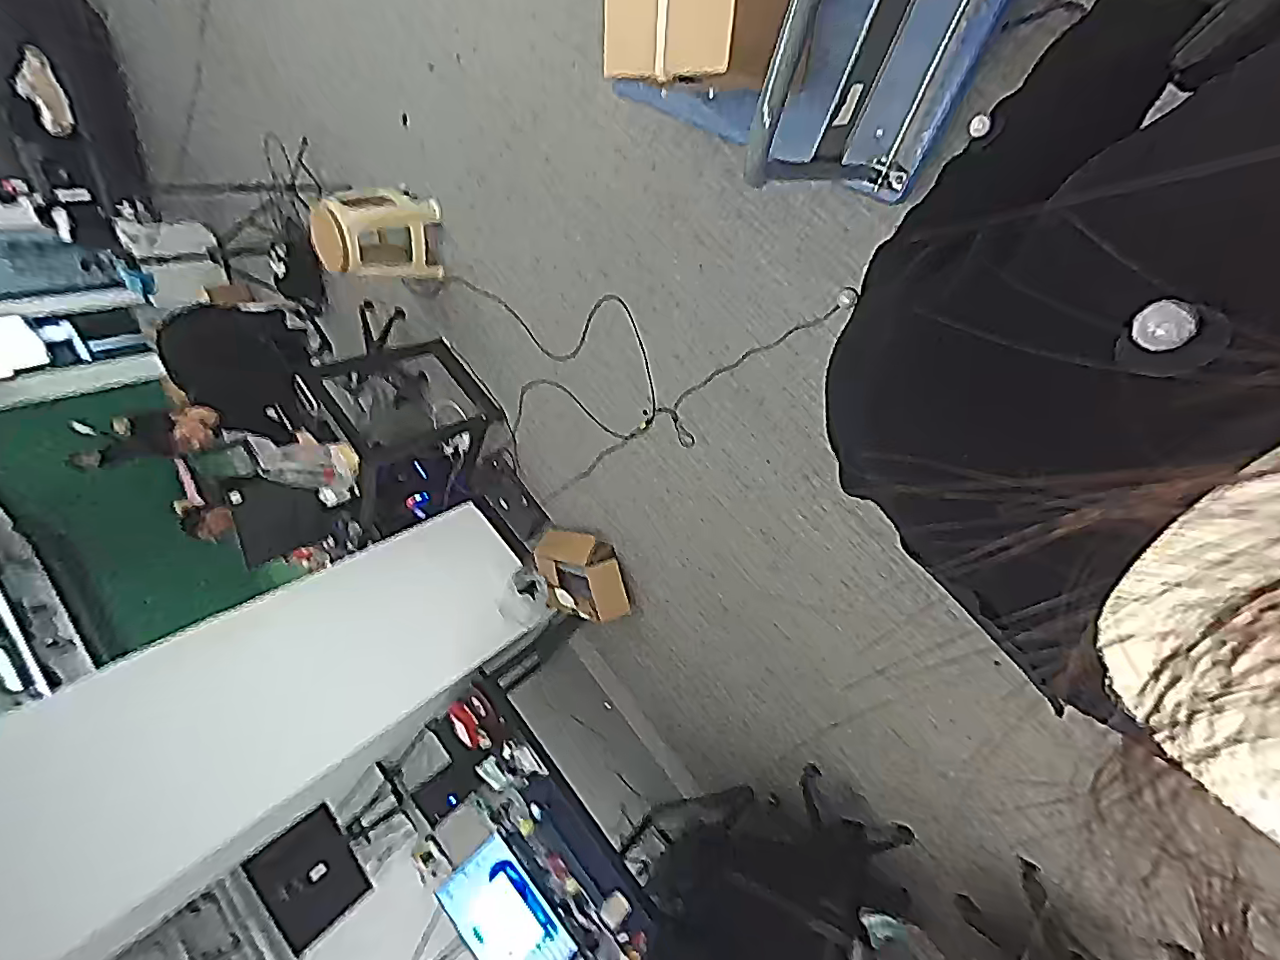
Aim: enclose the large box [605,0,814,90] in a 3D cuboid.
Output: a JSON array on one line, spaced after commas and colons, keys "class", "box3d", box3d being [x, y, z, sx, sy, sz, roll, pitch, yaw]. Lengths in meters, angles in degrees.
[{"class": "large box", "box3d": [0.146, -1.024, 1.051, 0.320, 0.320, 0.408, 26, 128, 32]}]
